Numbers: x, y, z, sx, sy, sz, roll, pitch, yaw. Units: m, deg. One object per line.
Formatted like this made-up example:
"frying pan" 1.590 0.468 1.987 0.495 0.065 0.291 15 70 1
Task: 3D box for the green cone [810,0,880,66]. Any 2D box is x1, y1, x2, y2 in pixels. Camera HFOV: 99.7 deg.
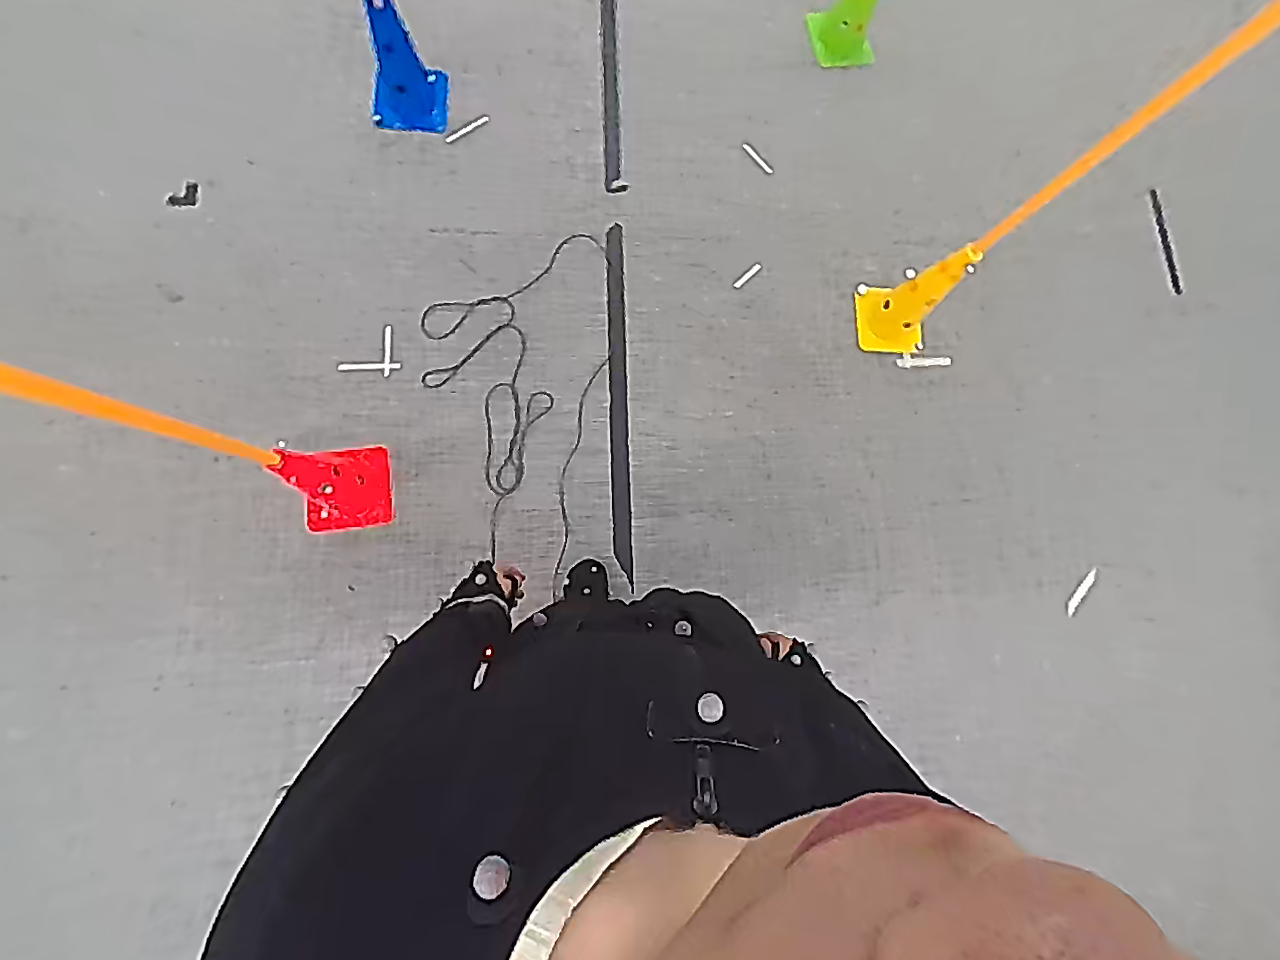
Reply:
"green cone" 0.679 -1.461 1.585 0.200 0.368 0.202 -12 84 -9

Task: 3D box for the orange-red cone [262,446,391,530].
"orange-red cone" -0.691 -0.010 1.154 0.199 0.360 0.198 -6 81 -9

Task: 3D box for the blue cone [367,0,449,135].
"blue cone" -0.619 -1.098 1.370 0.193 0.380 0.192 2 80 -7
